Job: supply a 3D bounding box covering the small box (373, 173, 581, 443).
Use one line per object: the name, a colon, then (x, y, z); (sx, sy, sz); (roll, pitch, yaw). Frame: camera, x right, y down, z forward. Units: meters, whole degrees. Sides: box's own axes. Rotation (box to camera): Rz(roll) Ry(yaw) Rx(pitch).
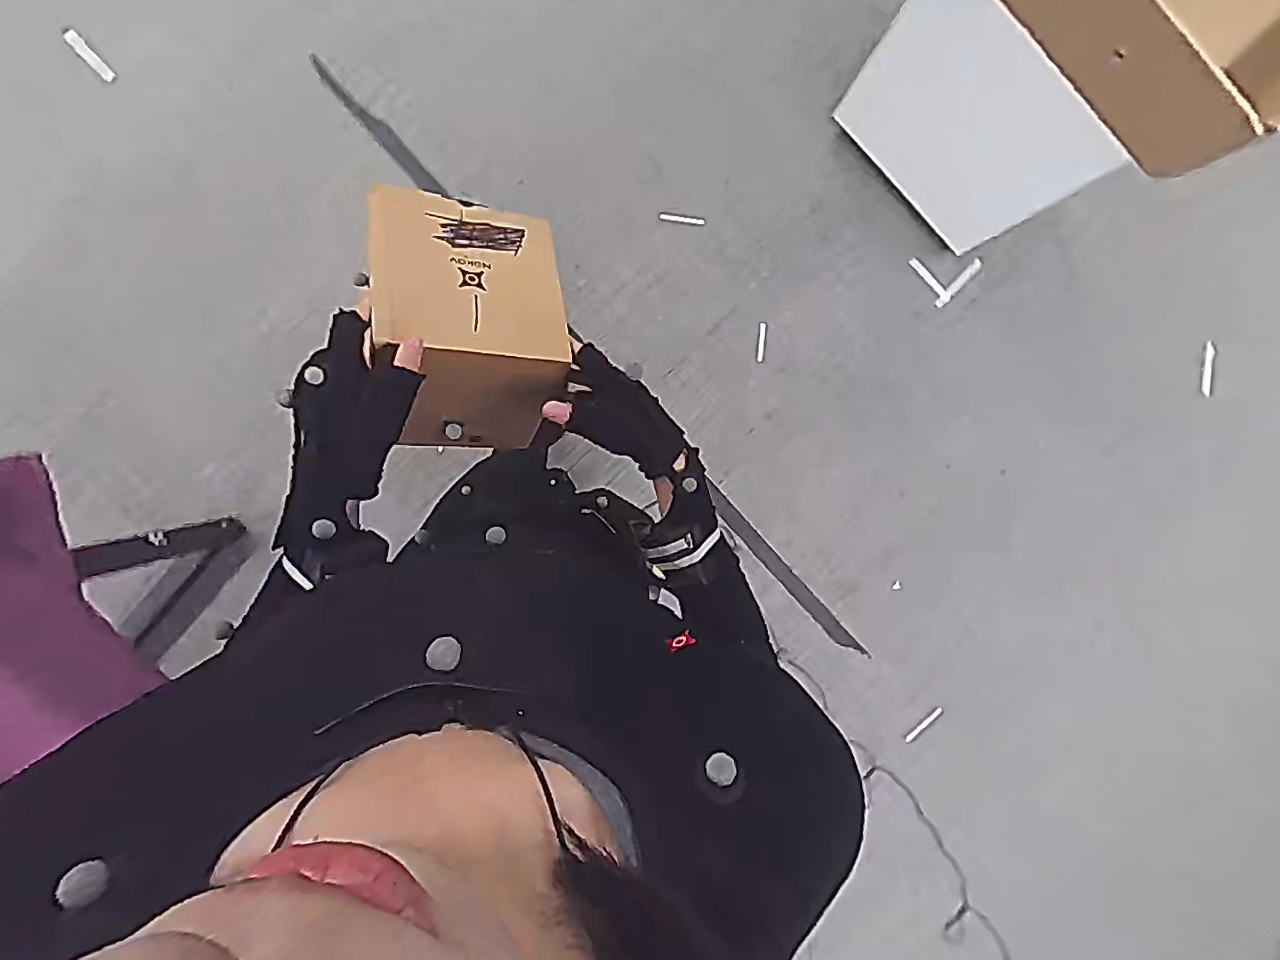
small box: (-0.174, -0.156, 0.543); (0.168, 0.176, 0.179); (1, 65, -28)
